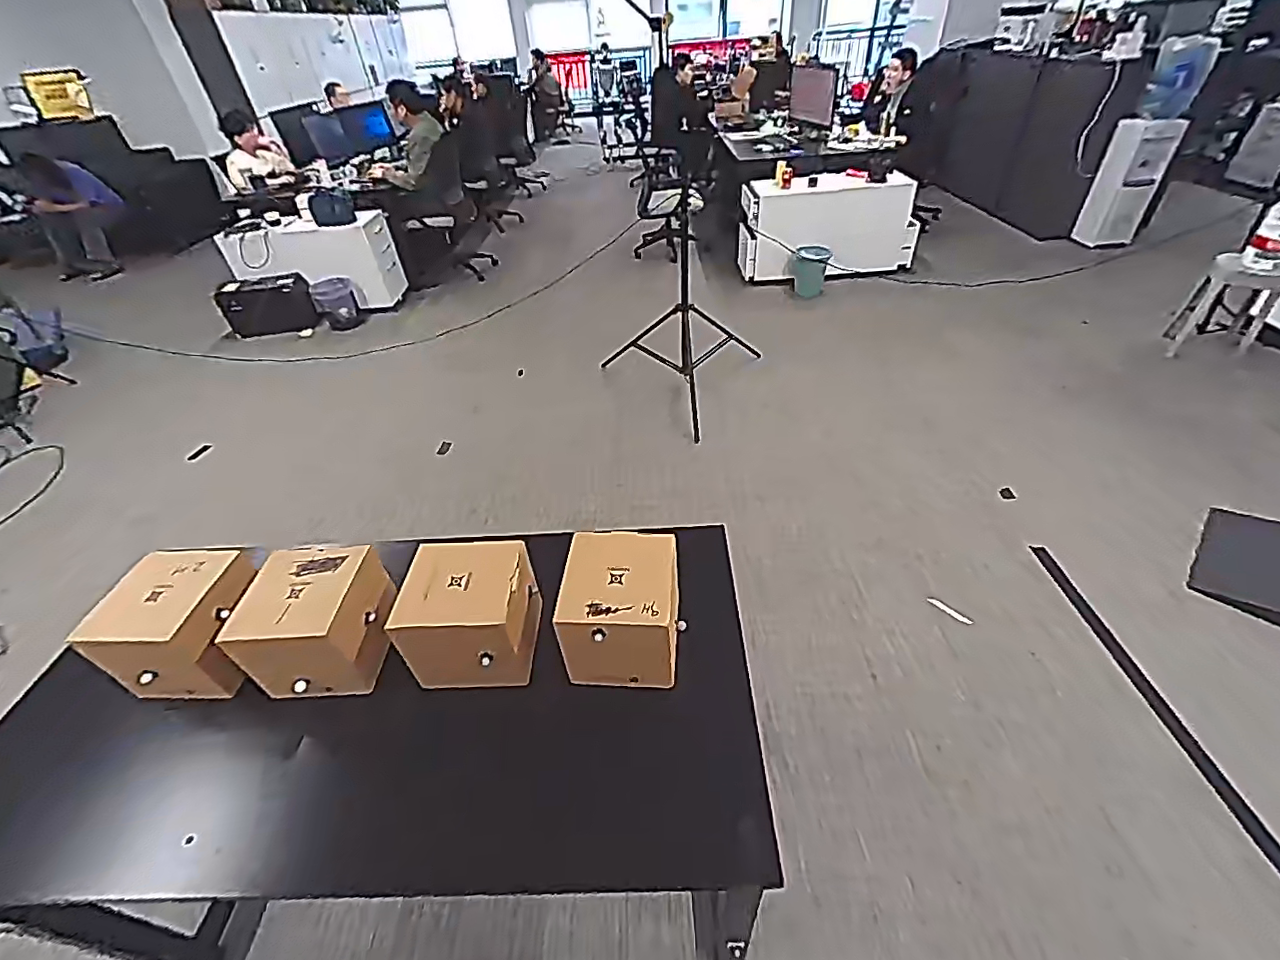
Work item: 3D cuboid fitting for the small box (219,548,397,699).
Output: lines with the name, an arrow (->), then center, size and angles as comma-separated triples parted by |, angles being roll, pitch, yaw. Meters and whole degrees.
small box -> -0.517, 0.233, 0.880 | 0.168, 0.176, 0.179 | -3, 42, 1

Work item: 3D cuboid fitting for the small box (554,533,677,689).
small box -> -0.028, 0.204, 0.860 | 0.168, 0.176, 0.179 | 0, 40, 7

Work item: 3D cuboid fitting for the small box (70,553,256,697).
small box -> -0.741, 0.241, 0.894 | 0.168, 0.176, 0.179 | -1, 40, 4

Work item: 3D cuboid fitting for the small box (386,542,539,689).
small box -> -0.269, 0.219, 0.873 | 0.179, 0.176, 0.168 | -4, 39, 3
